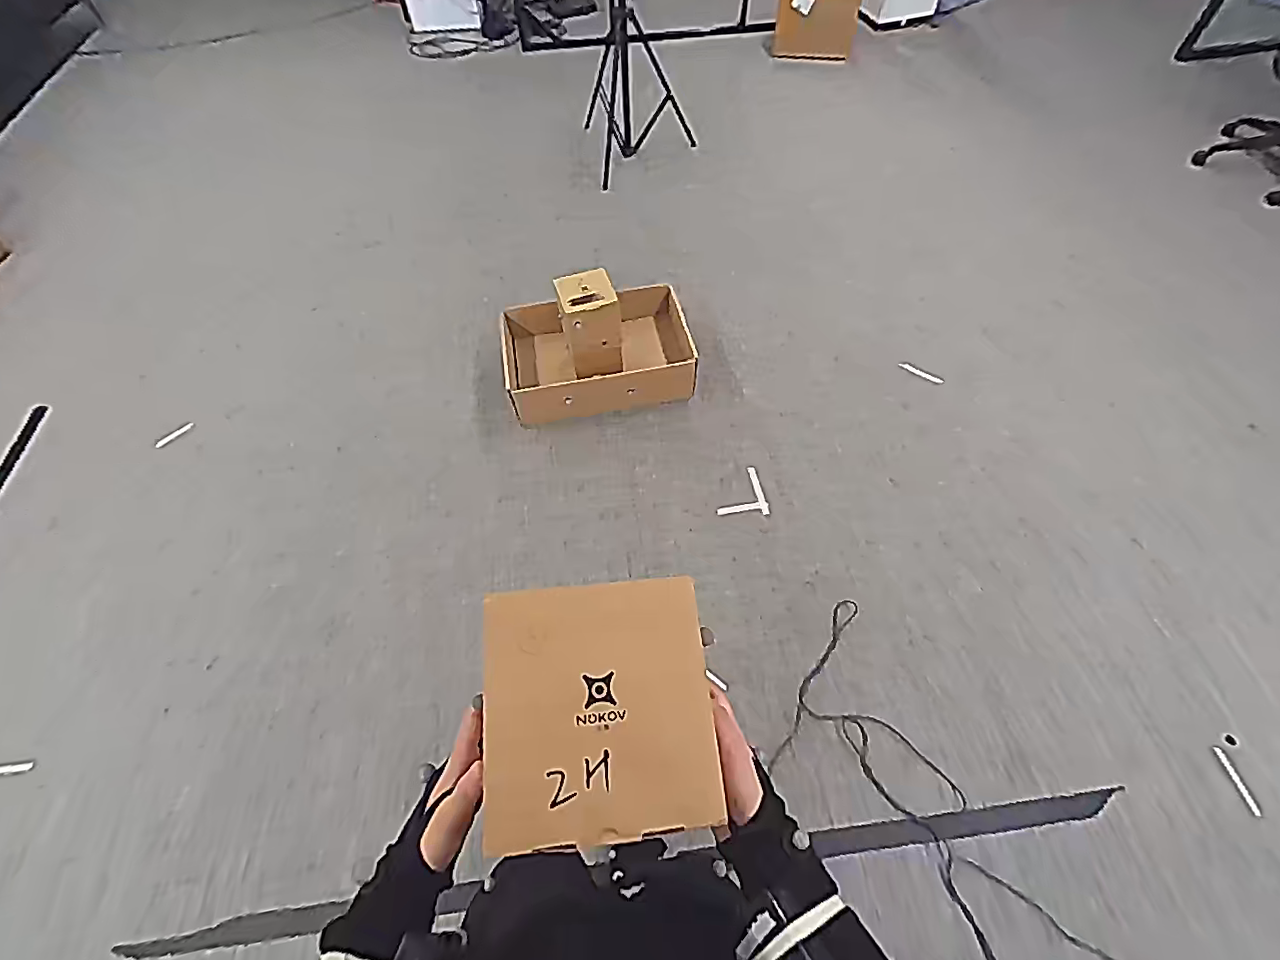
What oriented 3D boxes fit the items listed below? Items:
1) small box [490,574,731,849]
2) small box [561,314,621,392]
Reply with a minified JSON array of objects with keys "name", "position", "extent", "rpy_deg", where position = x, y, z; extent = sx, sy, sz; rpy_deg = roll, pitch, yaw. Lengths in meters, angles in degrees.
[{"name":"small box","position":[-0.032,0.192,0.469],"extent":[0.168,0.176,0.179],"rpy_deg":[-4,67,-6]},{"name":"small box","position":[-0.166,-0.432,1.850],"extent":[0.168,0.176,0.179],"rpy_deg":[-16,59,-7]}]
